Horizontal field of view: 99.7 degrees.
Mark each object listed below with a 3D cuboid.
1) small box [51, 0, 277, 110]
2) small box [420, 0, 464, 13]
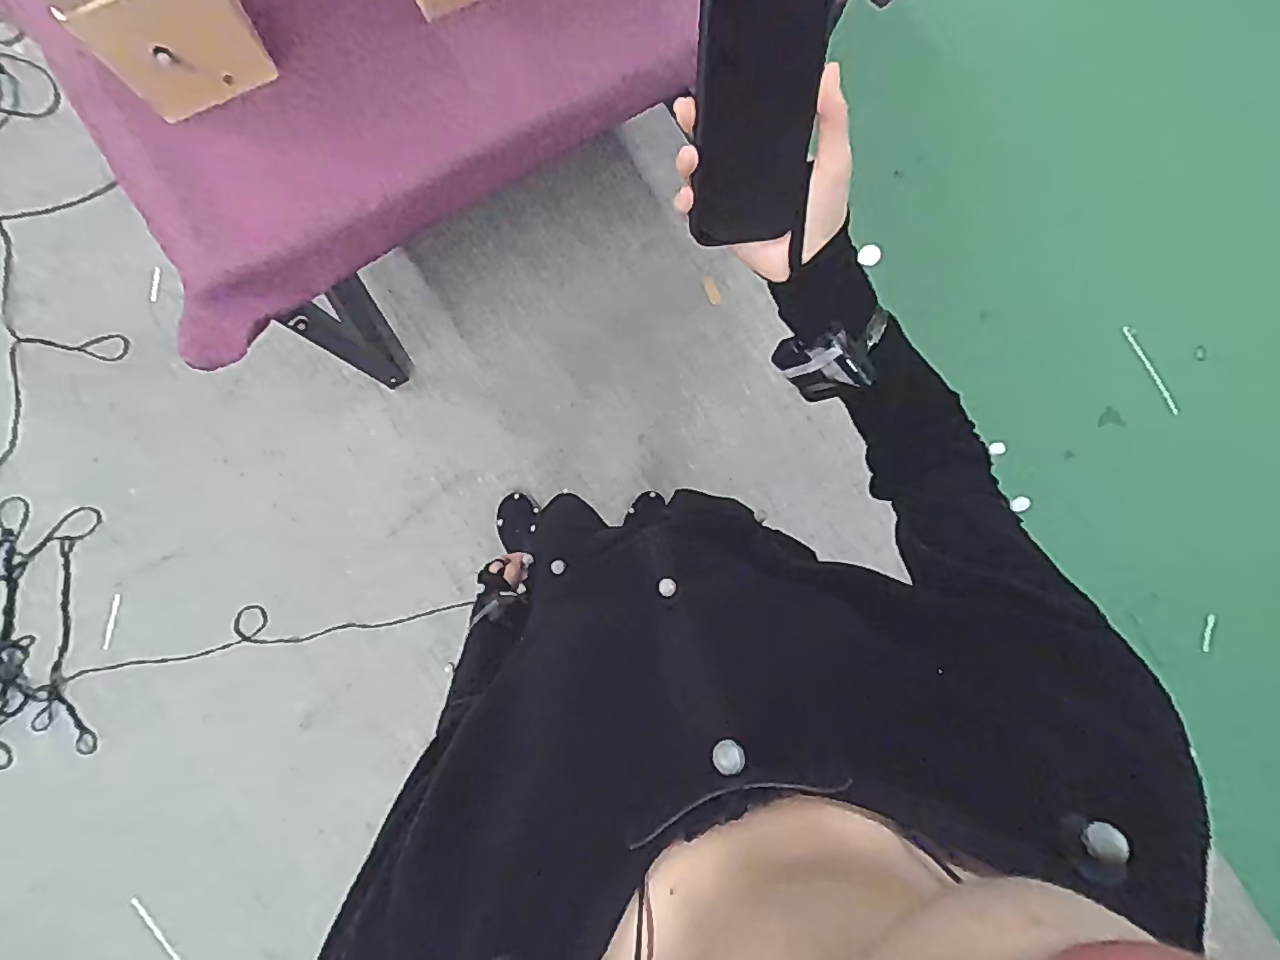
[{"bbox_3d":[-0.610,-0.613,0.681,0.168,0.176,0.179,-29,89,-5],"label":"small box"},{"bbox_3d":[-0.262,-0.789,0.715,0.179,0.176,0.168,-30,89,-5],"label":"small box"}]
